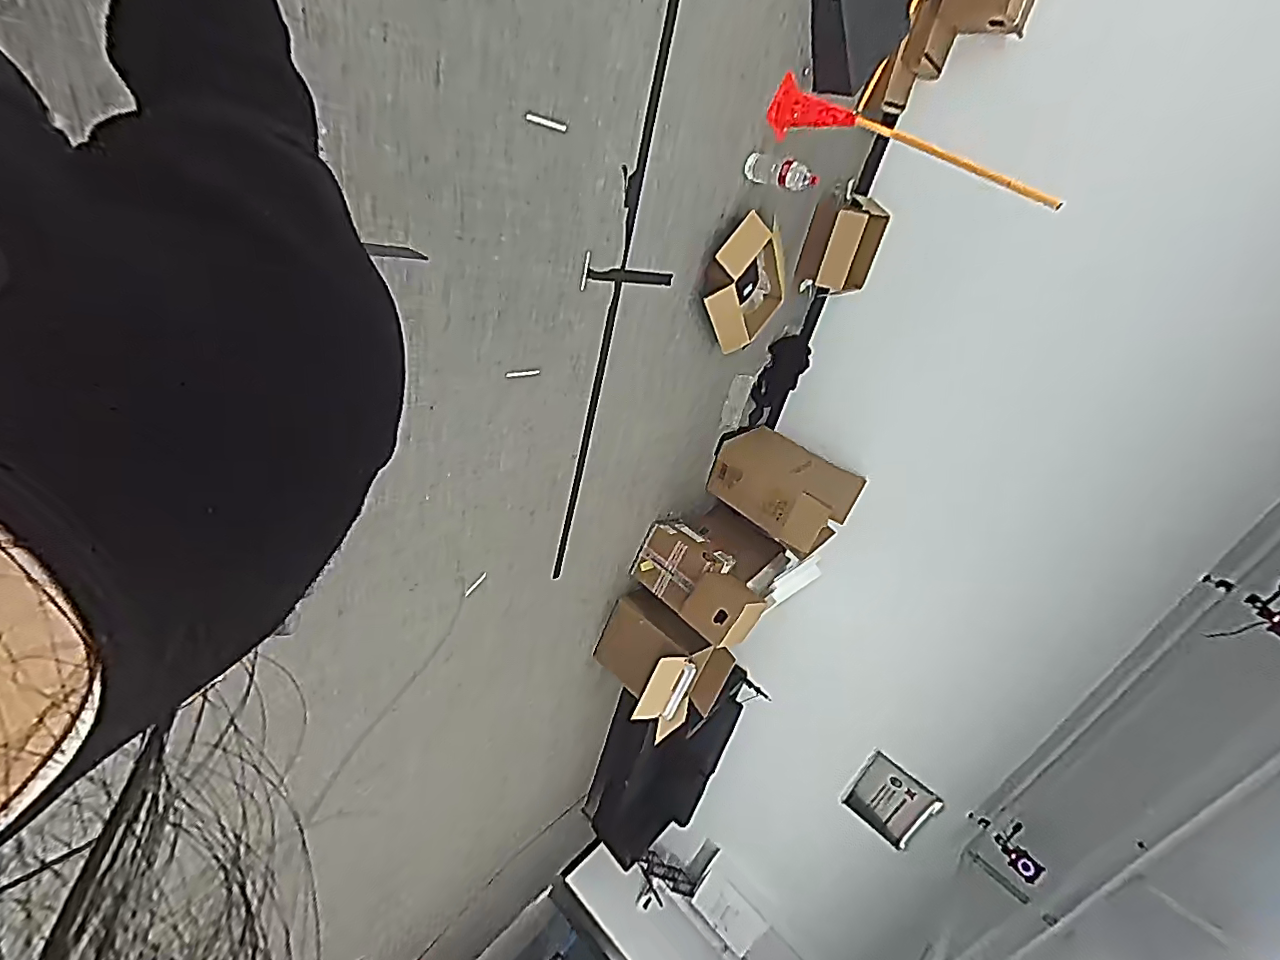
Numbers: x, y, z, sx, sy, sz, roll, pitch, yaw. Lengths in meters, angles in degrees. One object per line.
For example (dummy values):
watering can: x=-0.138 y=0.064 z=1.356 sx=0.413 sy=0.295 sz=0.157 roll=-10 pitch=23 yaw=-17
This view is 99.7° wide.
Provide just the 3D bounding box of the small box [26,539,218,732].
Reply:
small box: x=-0.752 y=0.217 z=0.794 sx=0.168 sy=0.176 sz=0.179 roll=-19 pitch=135 yaw=-47
